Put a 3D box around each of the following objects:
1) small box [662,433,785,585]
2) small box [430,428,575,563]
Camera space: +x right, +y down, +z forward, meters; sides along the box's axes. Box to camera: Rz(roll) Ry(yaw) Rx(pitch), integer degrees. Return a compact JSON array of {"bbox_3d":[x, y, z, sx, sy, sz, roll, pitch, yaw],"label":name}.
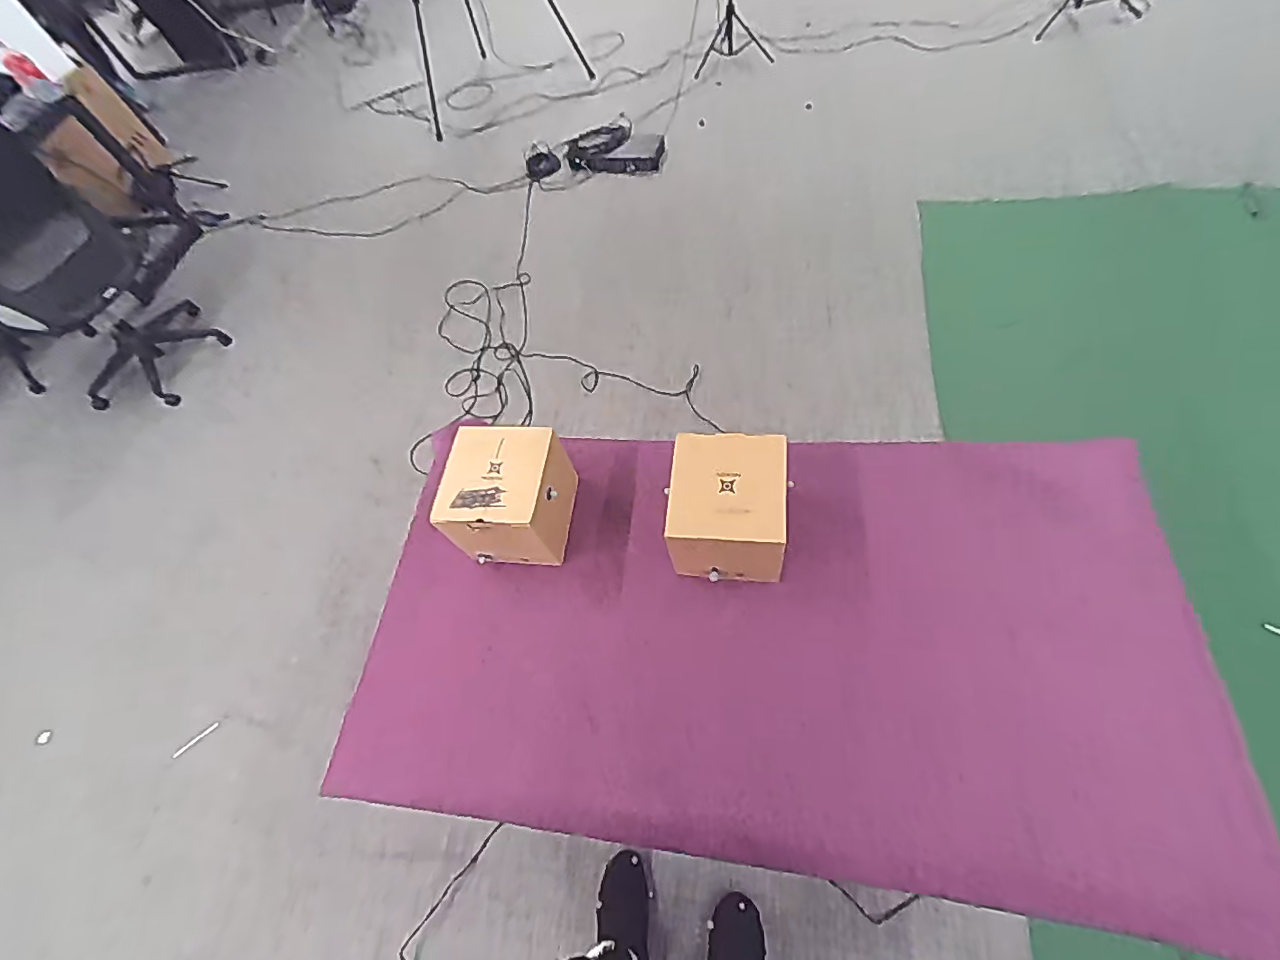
[{"bbox_3d":[0.134,0.047,0.840,0.168,0.176,0.179,2,61,12],"label":"small box"},{"bbox_3d":[-0.217,0.030,0.911,0.168,0.176,0.179,2,60,11],"label":"small box"}]
